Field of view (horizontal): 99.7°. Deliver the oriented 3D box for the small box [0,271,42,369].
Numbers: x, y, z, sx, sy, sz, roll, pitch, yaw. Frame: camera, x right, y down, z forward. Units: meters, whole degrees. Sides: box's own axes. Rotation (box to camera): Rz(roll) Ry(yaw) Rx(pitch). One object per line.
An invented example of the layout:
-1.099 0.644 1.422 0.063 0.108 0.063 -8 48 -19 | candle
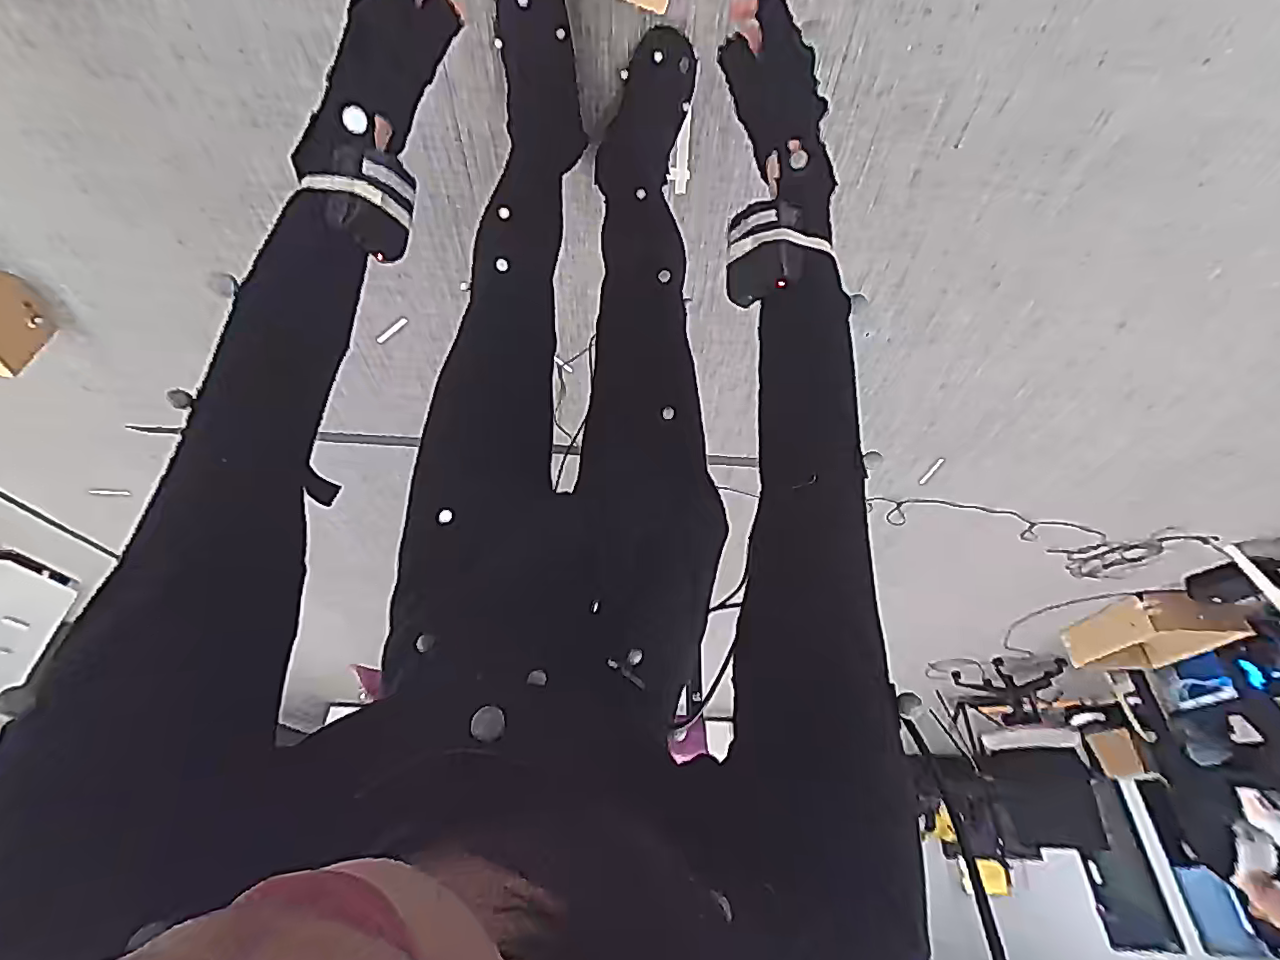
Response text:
-1.494 -0.366 1.176 0.179 0.176 0.168 11 146 -15 | small box
